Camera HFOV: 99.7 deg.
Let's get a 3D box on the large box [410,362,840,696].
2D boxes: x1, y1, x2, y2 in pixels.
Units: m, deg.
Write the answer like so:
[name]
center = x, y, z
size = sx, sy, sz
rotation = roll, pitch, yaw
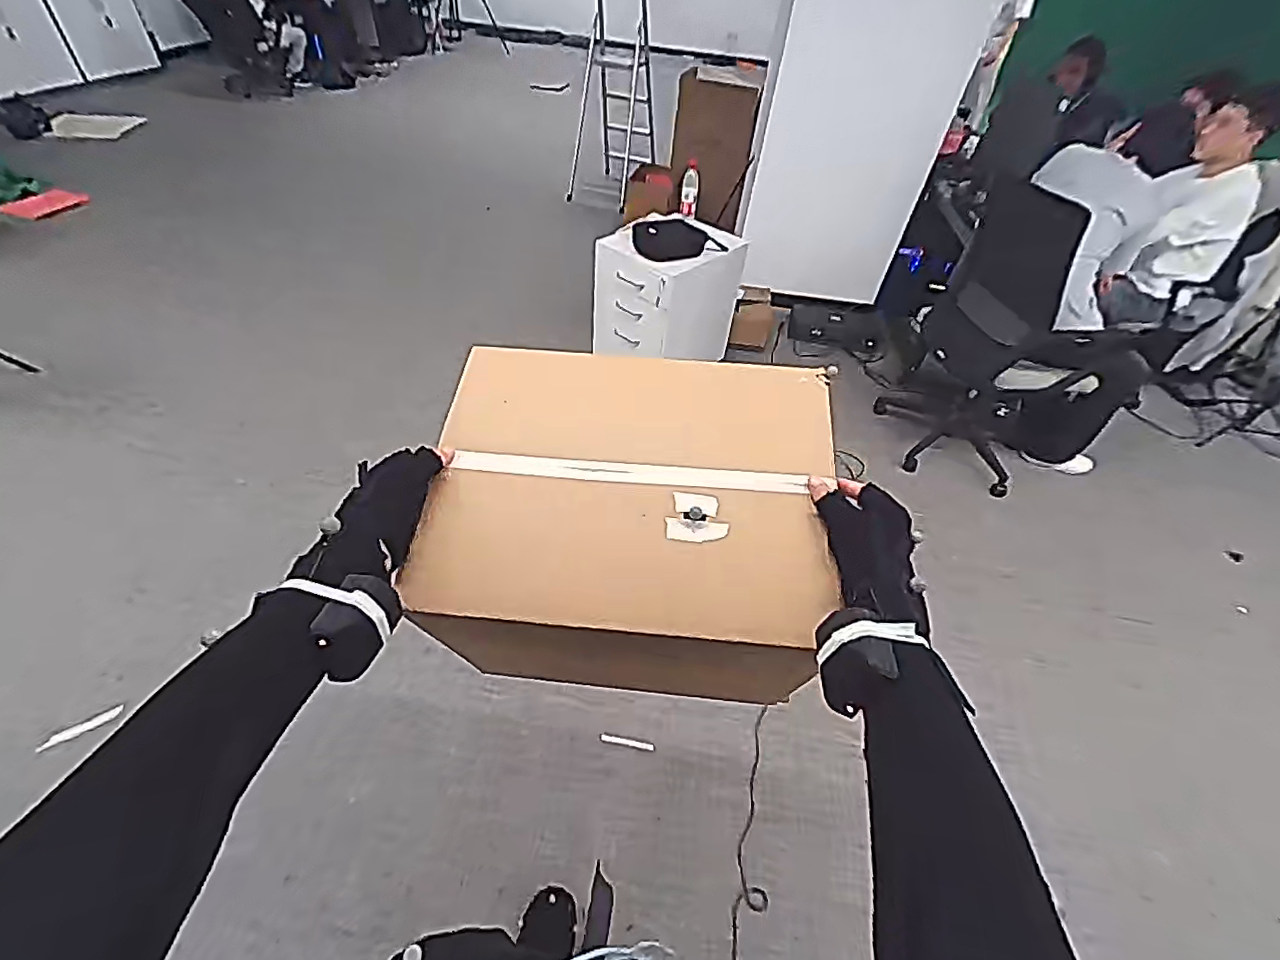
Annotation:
[large box]
center = -0.006, 0.077, 0.692
size = 0.408, 0.320, 0.320
rotation = 5, 61, 3
